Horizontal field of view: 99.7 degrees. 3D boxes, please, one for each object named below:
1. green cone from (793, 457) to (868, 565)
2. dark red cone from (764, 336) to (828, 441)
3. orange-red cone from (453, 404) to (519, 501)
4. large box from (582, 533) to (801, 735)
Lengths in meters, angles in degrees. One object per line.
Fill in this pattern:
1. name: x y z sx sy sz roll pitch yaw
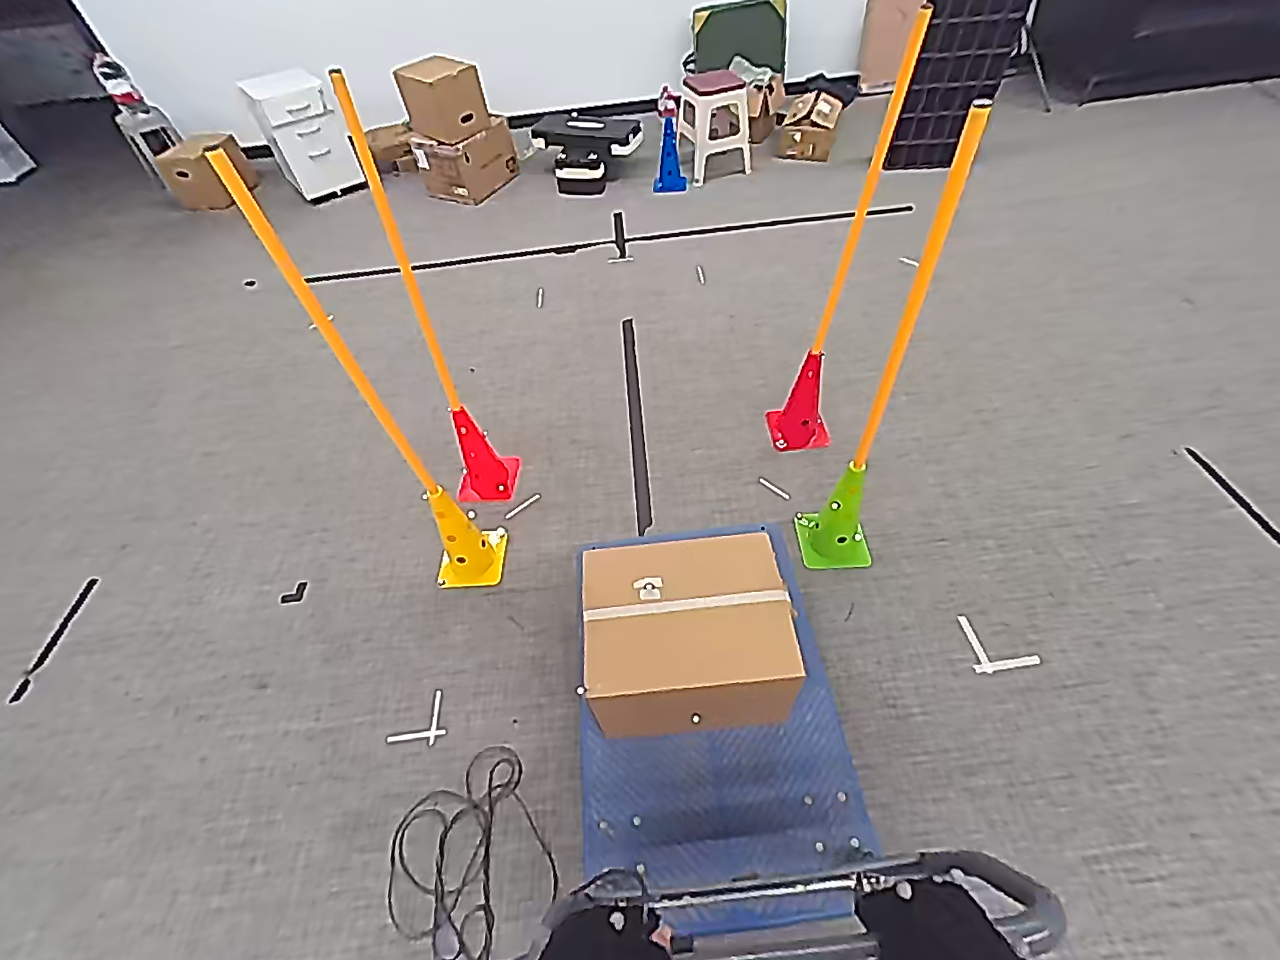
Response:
1. green cone: 0.581 0.070 1.554 0.202 0.368 0.200 -3 51 2
2. dark red cone: 0.561 -0.318 1.845 0.201 0.394 0.202 -5 51 -1
3. orange-red cone: -0.554 -0.114 1.813 0.198 0.360 0.199 0 50 4
4. large box: 0.098 0.348 1.192 0.408 0.320 0.320 -7 51 1
